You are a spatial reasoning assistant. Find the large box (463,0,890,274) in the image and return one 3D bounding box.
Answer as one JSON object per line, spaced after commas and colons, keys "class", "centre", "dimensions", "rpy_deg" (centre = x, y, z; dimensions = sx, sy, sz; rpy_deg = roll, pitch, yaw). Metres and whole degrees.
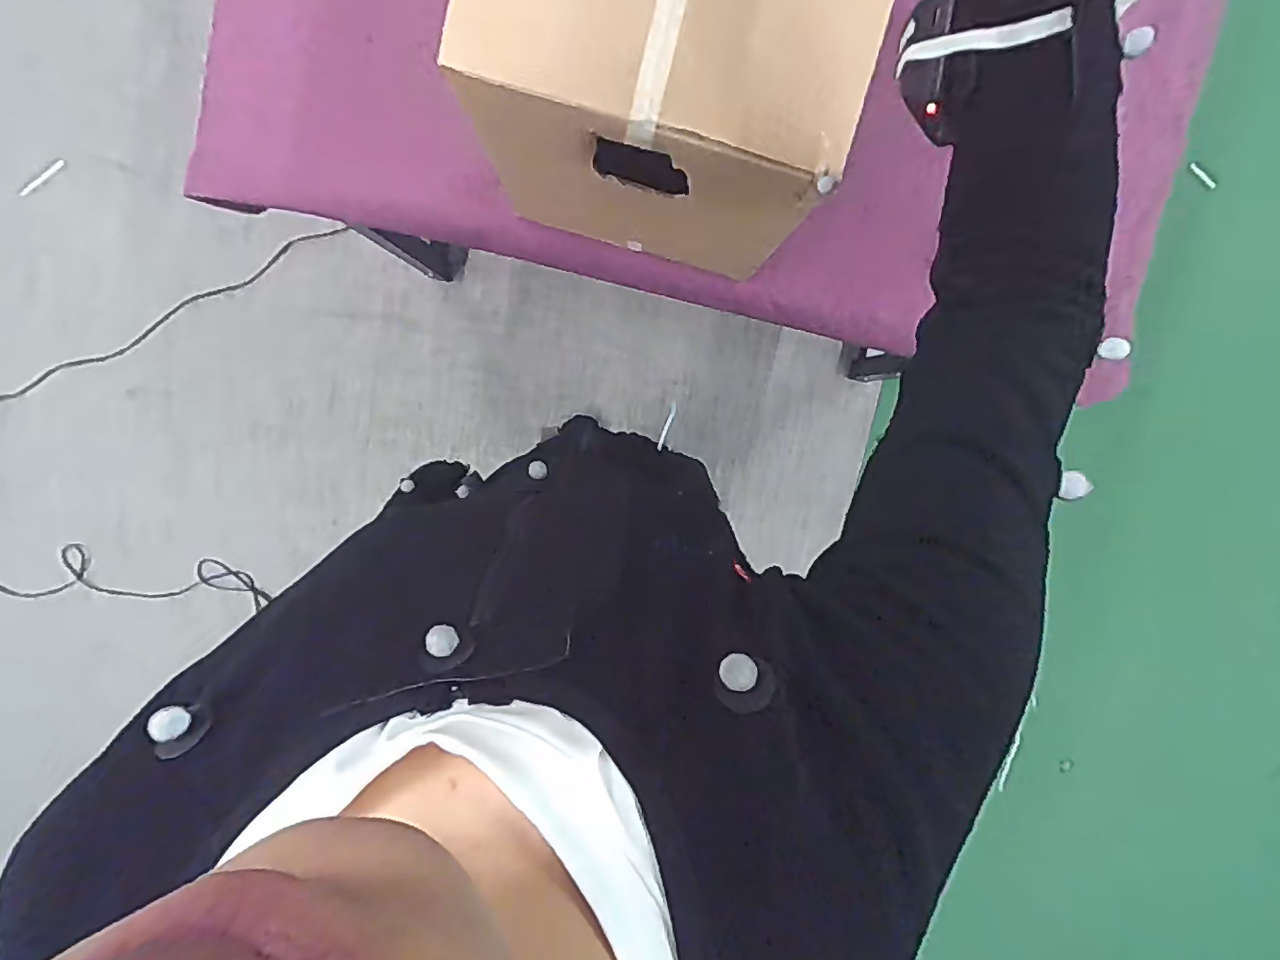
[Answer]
{"class": "large box", "centre": [0.053, -0.481, 0.546], "dimensions": [0.320, 0.320, 0.408], "rpy_deg": [15, 97, -3]}
